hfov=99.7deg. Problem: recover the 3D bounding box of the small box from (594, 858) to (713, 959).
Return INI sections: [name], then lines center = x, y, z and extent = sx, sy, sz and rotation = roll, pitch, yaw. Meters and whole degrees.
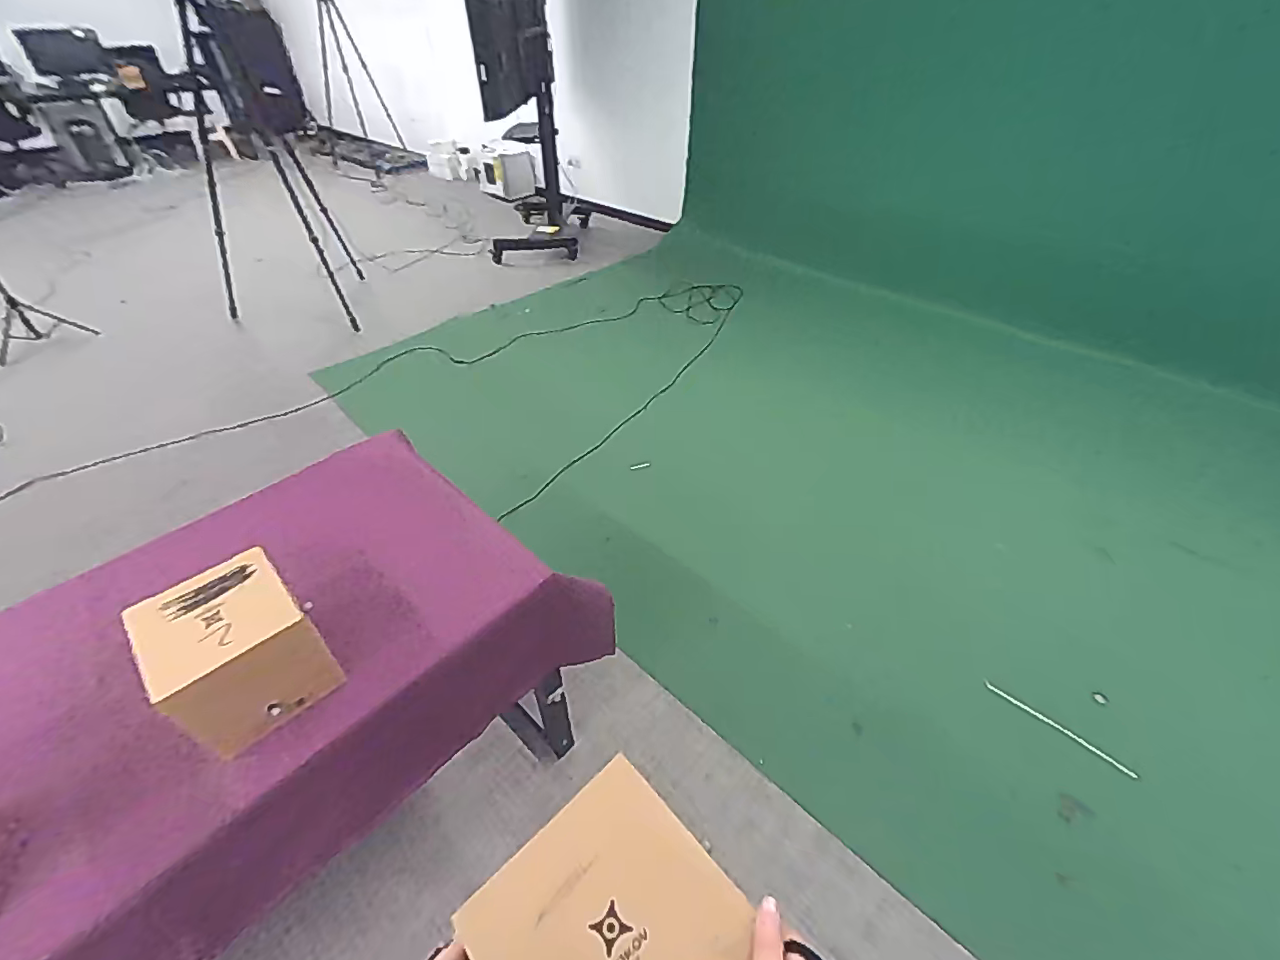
[small box]
center = 0.028, 0.922, 1.091
extent = 0.168, 0.176, 0.179
rotation = 31, 50, 28
